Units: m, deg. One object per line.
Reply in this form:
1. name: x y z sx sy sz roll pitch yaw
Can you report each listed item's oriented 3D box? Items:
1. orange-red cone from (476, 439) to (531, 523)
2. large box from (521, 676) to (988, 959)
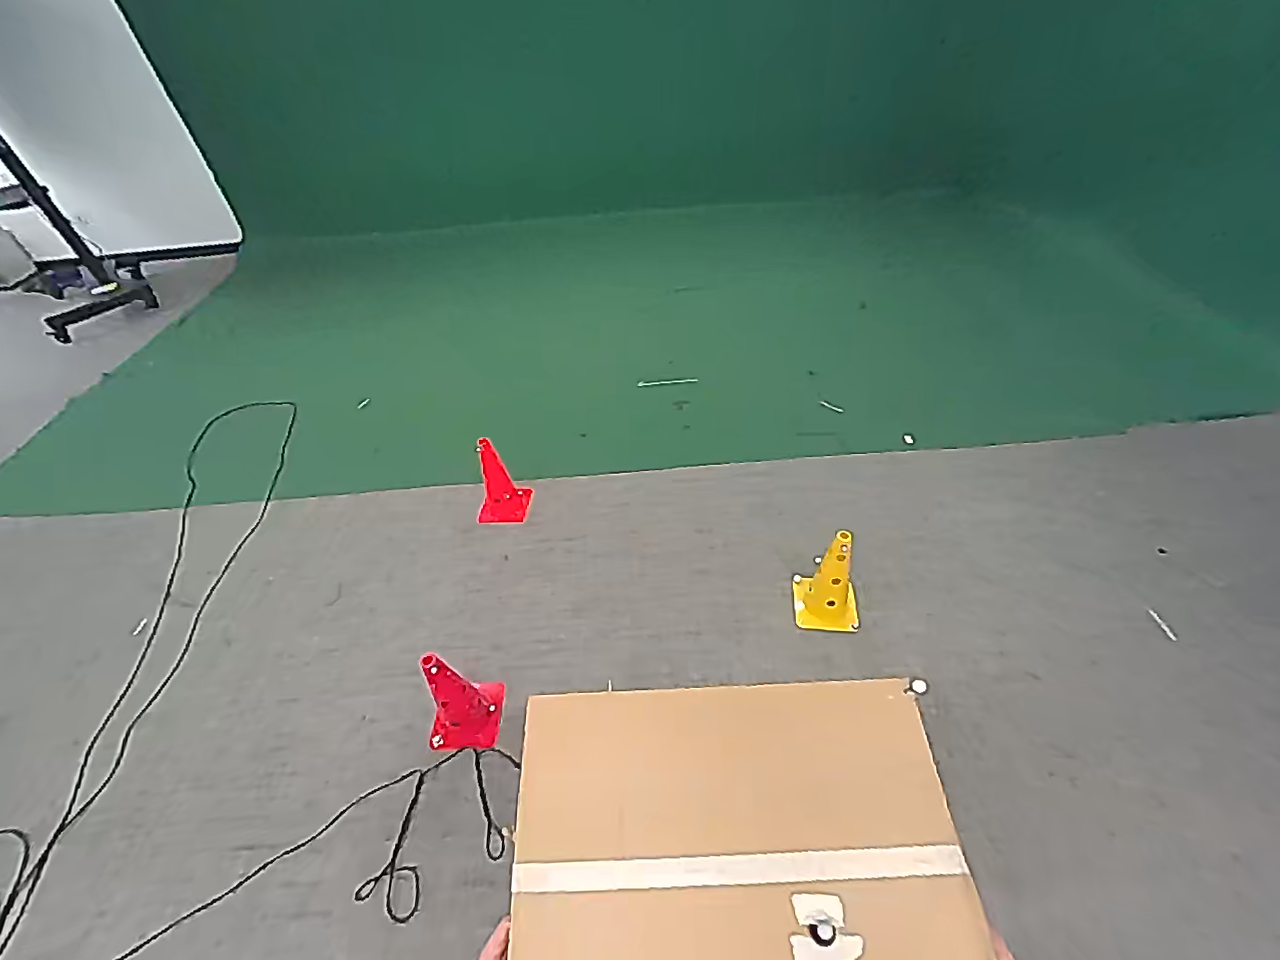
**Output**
1. orange-red cone: -0.581 -0.015 2.134 0.199 0.360 0.198 -1 44 8
2. large box: 0.096 0.436 0.620 0.408 0.320 0.320 -4 57 1
